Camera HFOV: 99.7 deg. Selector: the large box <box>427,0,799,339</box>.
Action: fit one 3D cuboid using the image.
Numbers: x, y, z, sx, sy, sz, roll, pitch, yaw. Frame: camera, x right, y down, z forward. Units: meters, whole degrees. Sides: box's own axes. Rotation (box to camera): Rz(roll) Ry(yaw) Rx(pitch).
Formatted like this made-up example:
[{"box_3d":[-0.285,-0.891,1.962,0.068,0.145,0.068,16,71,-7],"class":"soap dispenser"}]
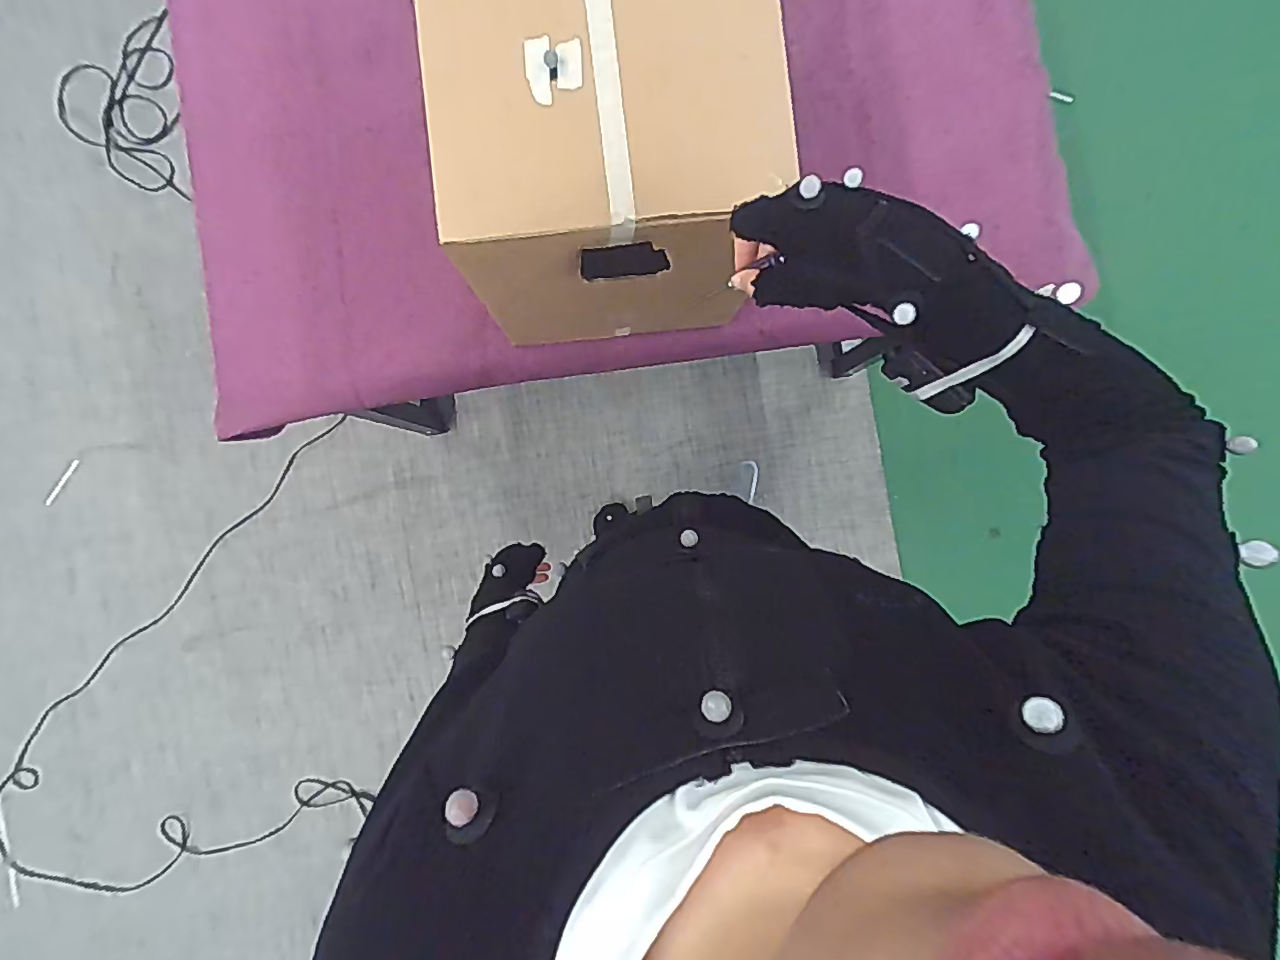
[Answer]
[{"box_3d":[-0.039,-0.413,0.629,0.320,0.320,0.408,-6,89,-2],"class":"large box"}]
